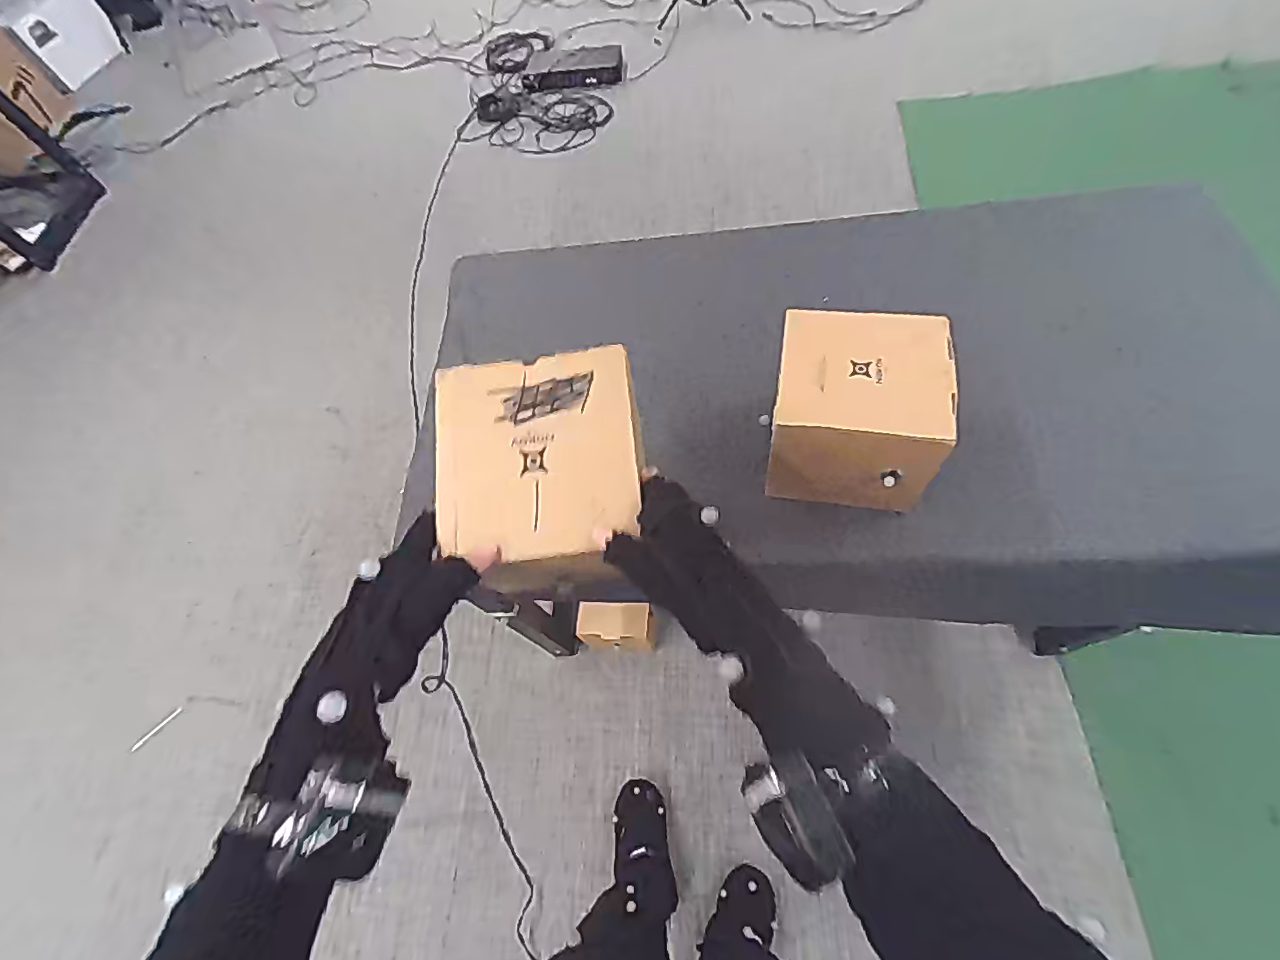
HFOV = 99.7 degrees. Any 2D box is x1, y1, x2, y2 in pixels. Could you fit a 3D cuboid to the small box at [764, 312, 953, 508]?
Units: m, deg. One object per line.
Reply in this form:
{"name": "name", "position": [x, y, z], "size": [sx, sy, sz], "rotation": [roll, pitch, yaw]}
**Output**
{"name": "small box", "position": [0.252, -0.078, 0.655], "size": [0.179, 0.176, 0.168], "rotation": [7, 62, 13]}

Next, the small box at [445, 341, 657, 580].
{"name": "small box", "position": [-0.075, -0.008, 0.522], "size": [0.168, 0.176, 0.179], "rotation": [-7, 73, 2]}
